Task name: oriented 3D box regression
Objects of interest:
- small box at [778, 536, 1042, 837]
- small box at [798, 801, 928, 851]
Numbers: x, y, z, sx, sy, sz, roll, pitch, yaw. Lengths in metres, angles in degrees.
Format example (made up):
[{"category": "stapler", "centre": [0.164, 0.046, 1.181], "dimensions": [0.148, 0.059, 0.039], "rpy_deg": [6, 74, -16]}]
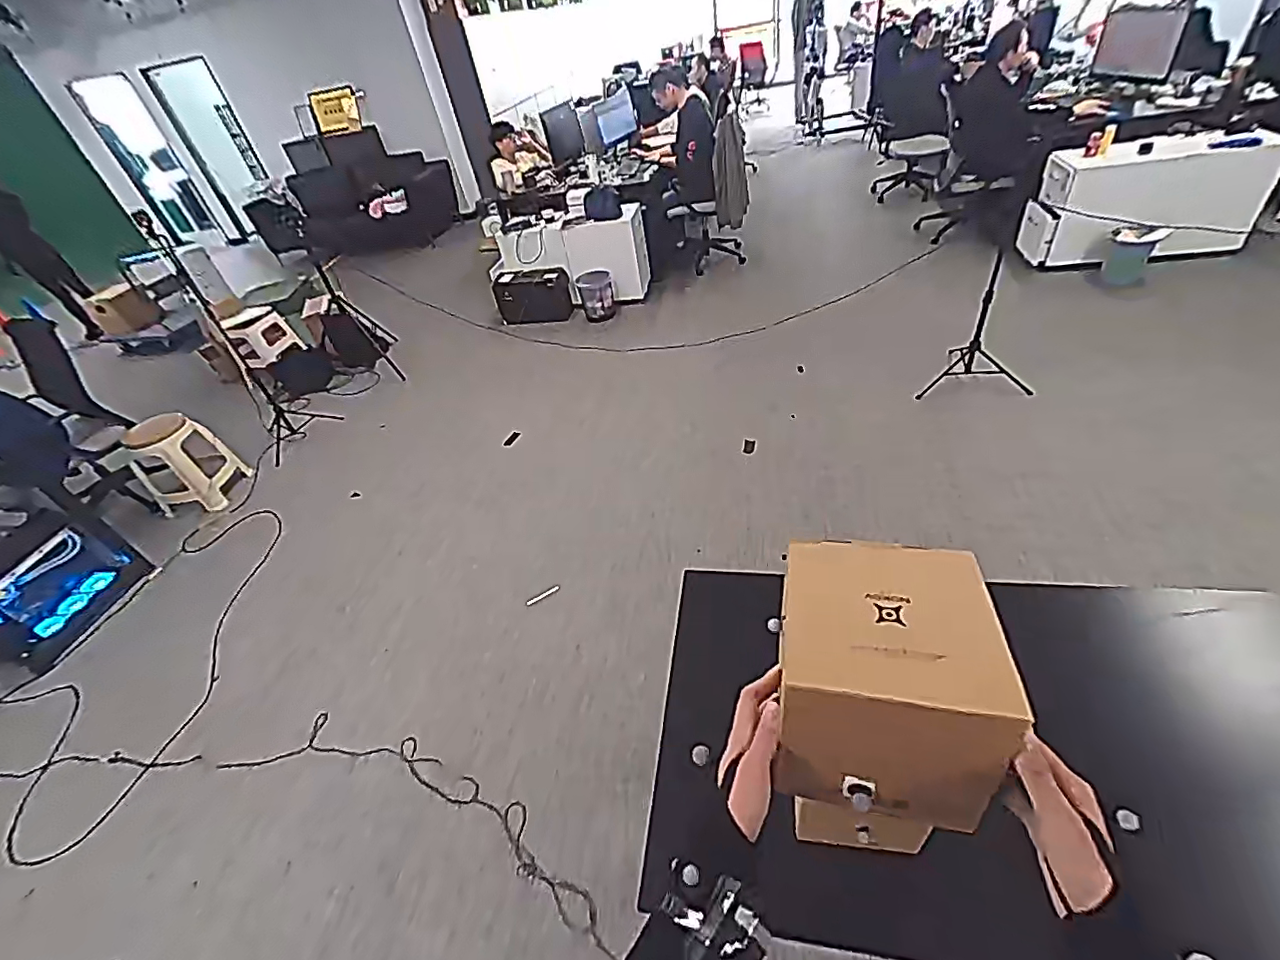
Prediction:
[{"category": "small box", "centre": [0.215, 0.175, 0.486], "dimensions": [0.168, 0.176, 0.179], "rpy_deg": [4, 35, 15]}, {"category": "small box", "centre": [0.310, 0.402, 0.771], "dimensions": [0.168, 0.176, 0.179], "rpy_deg": [-1, 42, 12]}]
